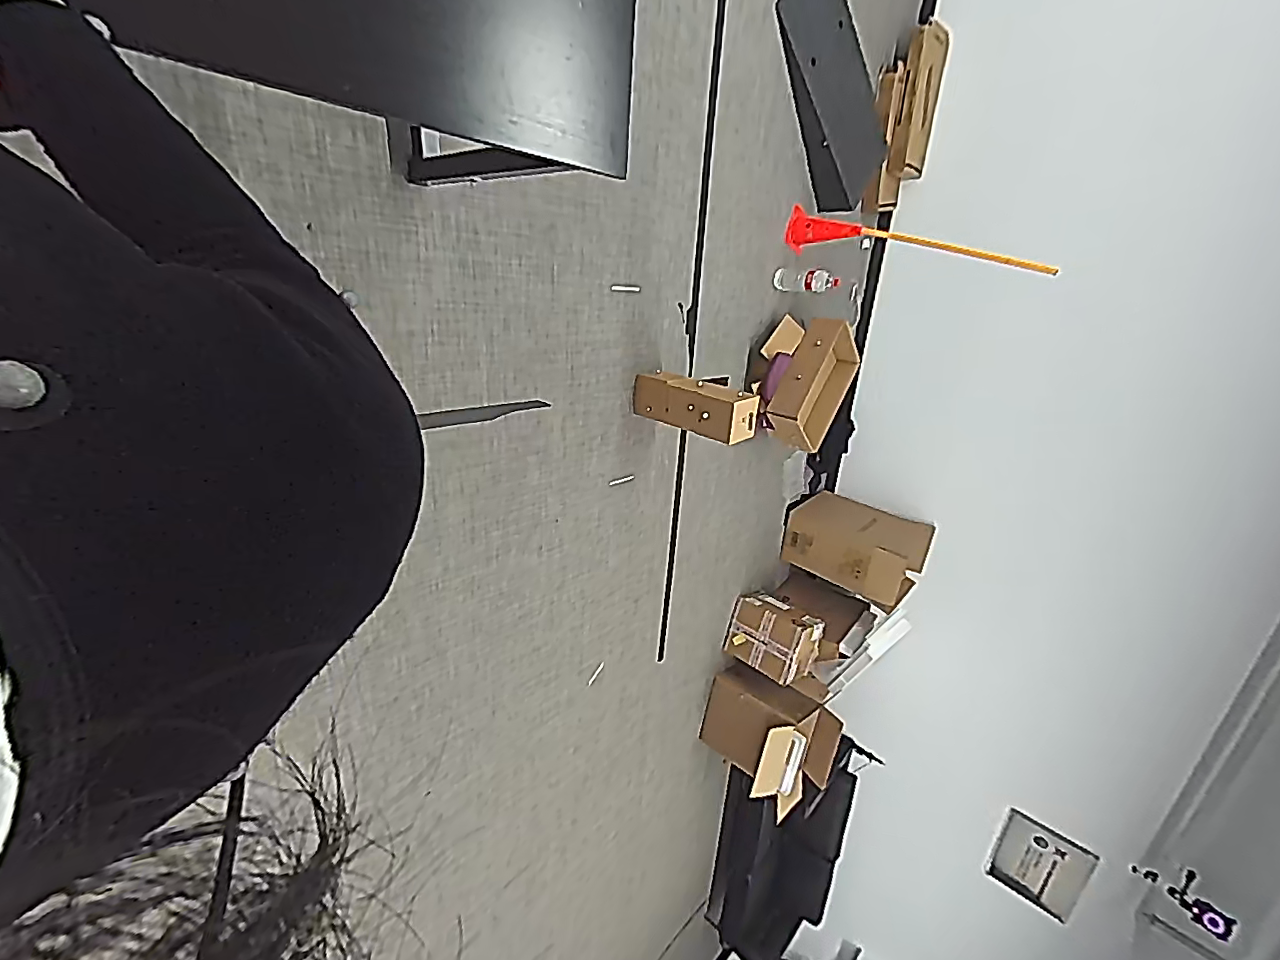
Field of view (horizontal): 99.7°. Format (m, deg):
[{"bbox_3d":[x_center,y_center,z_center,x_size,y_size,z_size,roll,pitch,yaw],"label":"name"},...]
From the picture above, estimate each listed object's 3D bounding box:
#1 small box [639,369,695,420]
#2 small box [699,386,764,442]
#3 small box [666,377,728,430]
[{"bbox_3d":[0.110,-0.363,2.277,0.168,0.176,0.179,-19,120,-45],"label":"small box"},{"bbox_3d":[0.349,-0.260,2.076,0.179,0.176,0.168,-20,122,-43],"label":"small box"},{"bbox_3d":[0.228,-0.313,2.176,0.179,0.176,0.168,-21,122,-44],"label":"small box"}]
